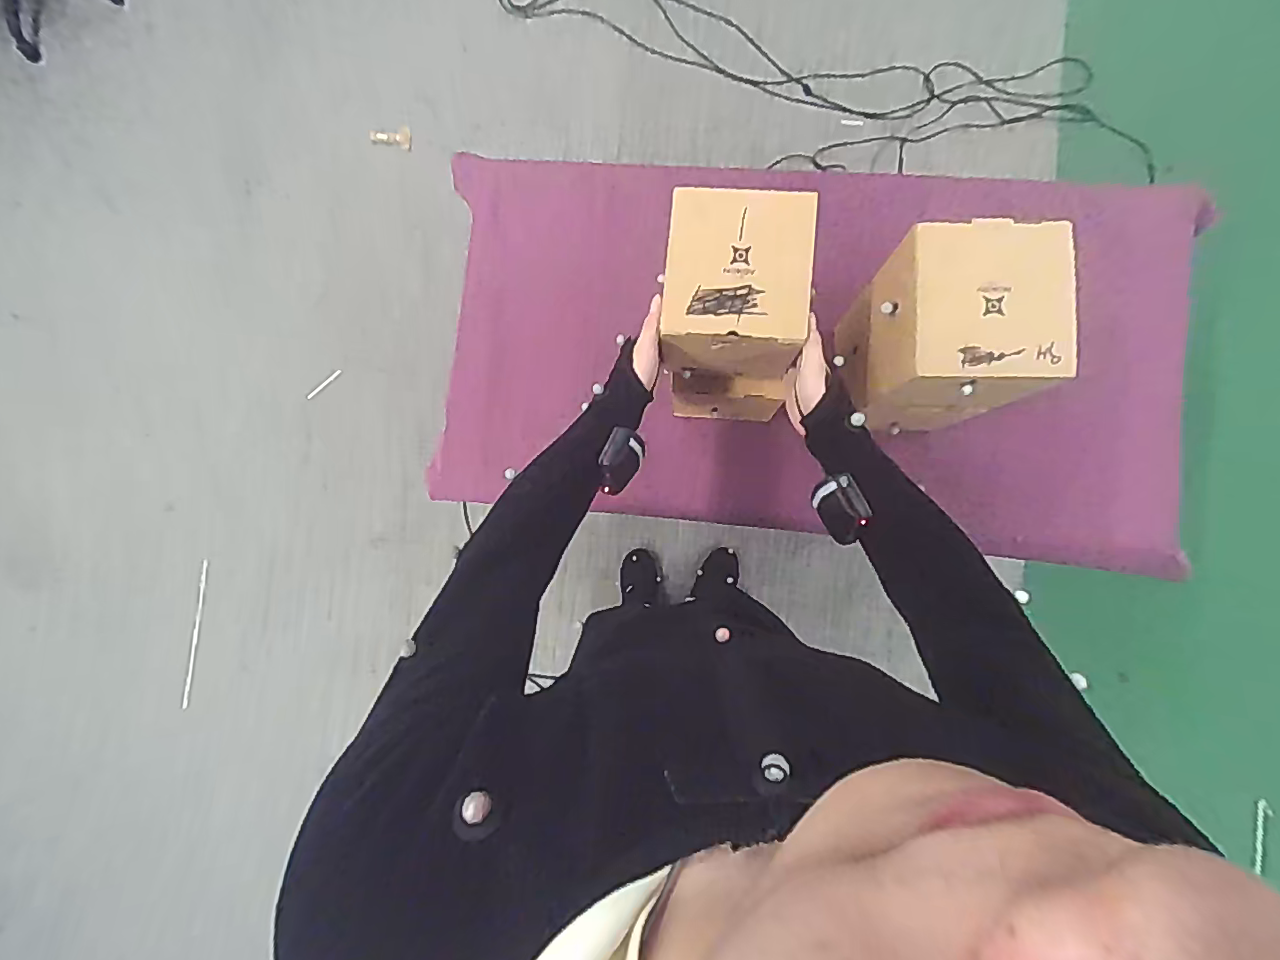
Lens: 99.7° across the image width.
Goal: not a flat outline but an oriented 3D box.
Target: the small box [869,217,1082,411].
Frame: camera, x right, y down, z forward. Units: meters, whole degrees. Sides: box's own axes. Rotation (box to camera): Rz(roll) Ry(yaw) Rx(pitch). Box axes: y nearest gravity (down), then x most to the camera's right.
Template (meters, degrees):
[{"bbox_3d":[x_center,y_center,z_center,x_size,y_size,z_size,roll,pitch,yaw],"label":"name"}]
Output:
[{"bbox_3d":[0.388,-0.190,0.656,0.168,0.176,0.179,2,85,5],"label":"small box"}]

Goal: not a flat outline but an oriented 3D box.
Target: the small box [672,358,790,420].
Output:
[{"bbox_3d":[0.138,-0.199,0.846,0.168,0.176,0.179,4,87,5],"label":"small box"}]

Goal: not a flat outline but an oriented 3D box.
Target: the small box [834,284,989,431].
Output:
[{"bbox_3d":[0.401,-0.177,0.820,0.168,0.176,0.179,2,86,5],"label":"small box"}]

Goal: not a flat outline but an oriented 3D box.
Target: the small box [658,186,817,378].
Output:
[{"bbox_3d":[0.116,-0.236,0.681,0.168,0.176,0.179,5,85,5],"label":"small box"}]
